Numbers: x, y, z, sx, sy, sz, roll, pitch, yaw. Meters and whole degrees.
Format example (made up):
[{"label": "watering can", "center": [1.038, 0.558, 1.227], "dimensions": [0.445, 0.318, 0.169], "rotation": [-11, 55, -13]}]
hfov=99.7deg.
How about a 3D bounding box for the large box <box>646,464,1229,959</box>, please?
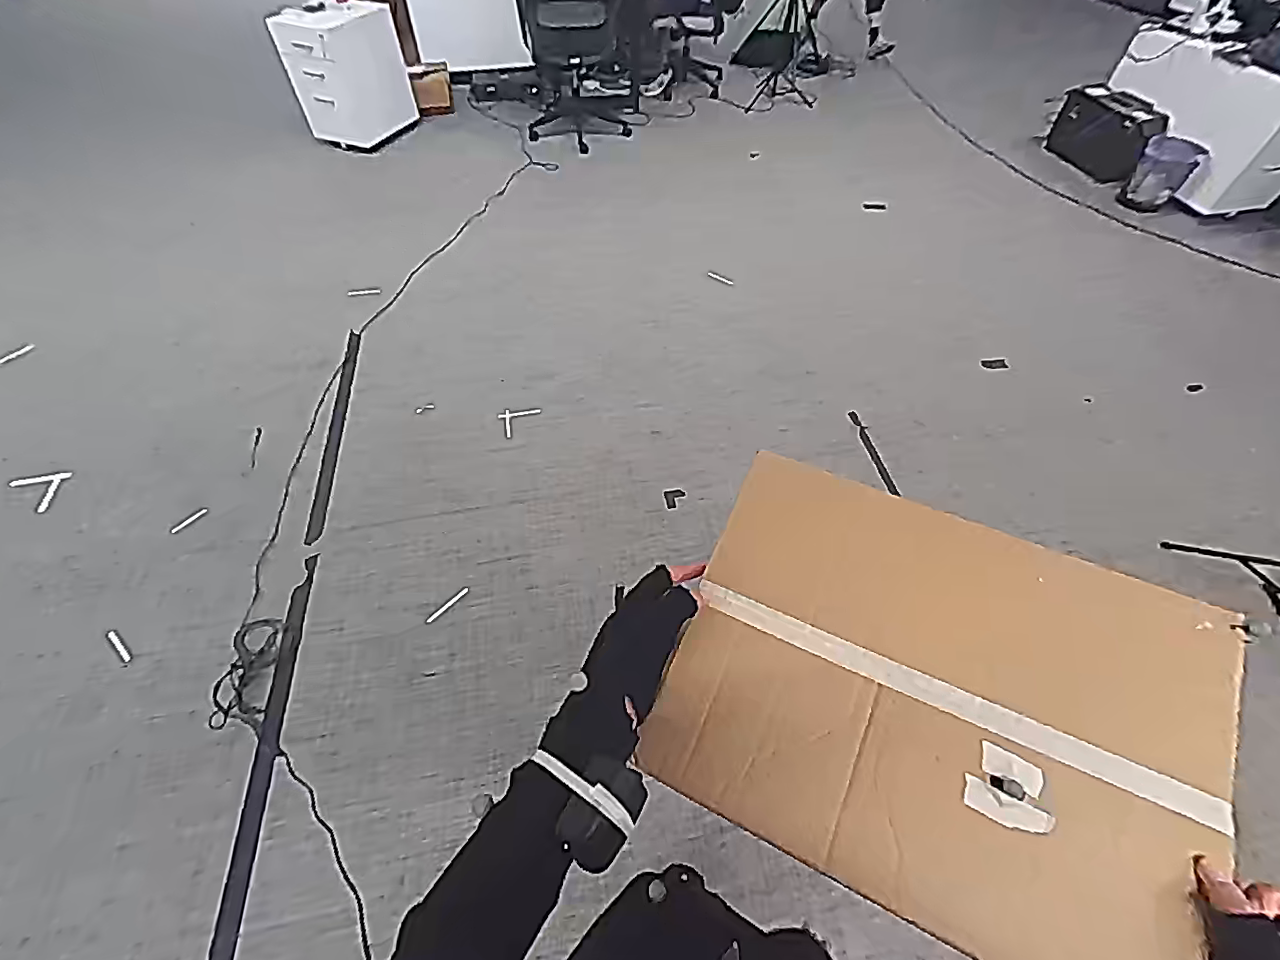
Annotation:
[{"label": "large box", "center": [0.260, 0.237, 0.585], "dimensions": [0.408, 0.320, 0.320], "rotation": [22, 71, 17]}]
